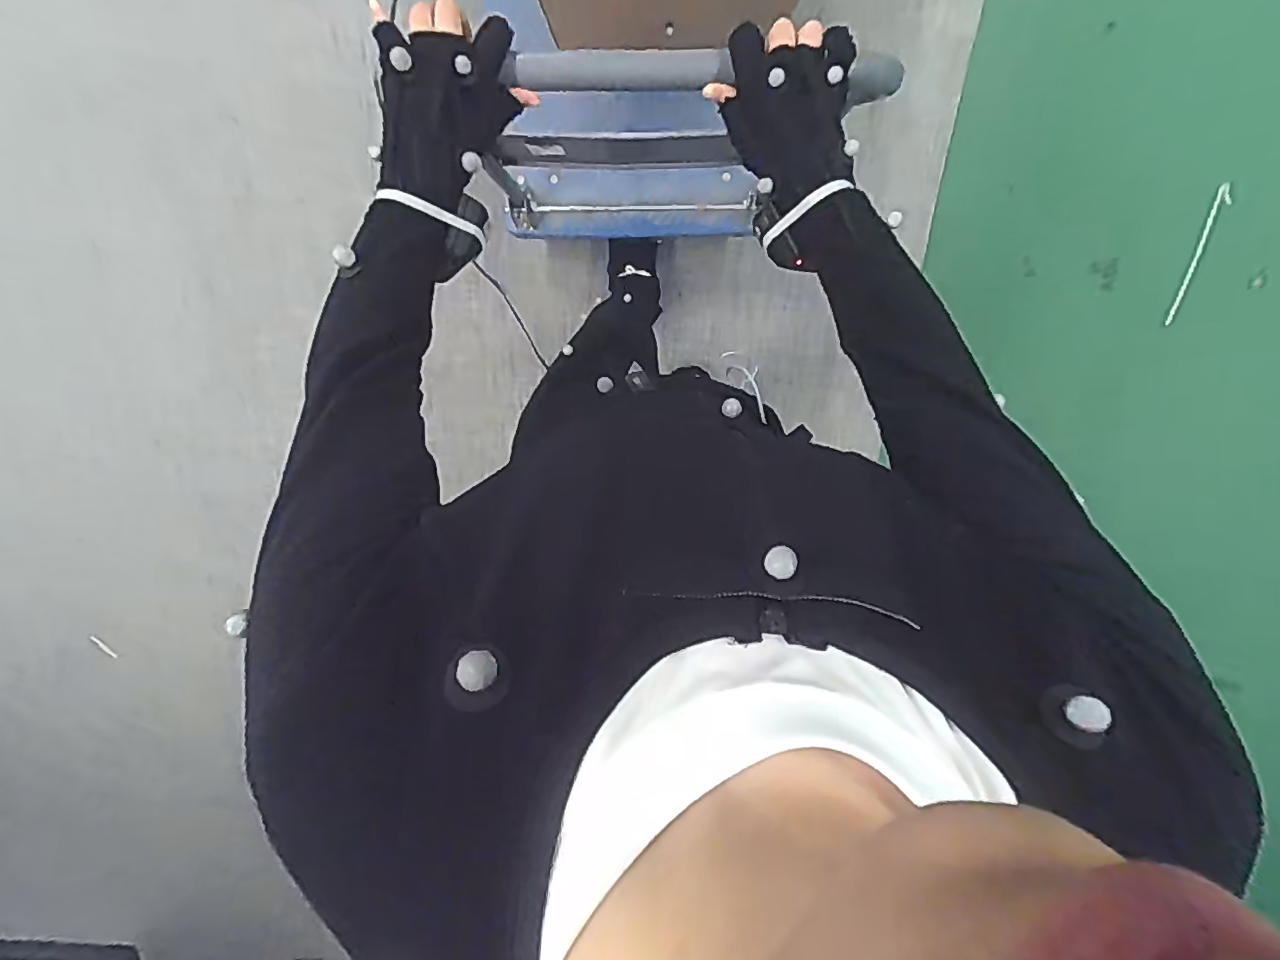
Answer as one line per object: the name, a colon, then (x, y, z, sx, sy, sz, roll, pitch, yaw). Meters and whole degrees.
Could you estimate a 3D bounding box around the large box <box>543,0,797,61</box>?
large box: (0.049, -0.912, 0.859, 0.408, 0.320, 0.320, 0, 109, 3)
